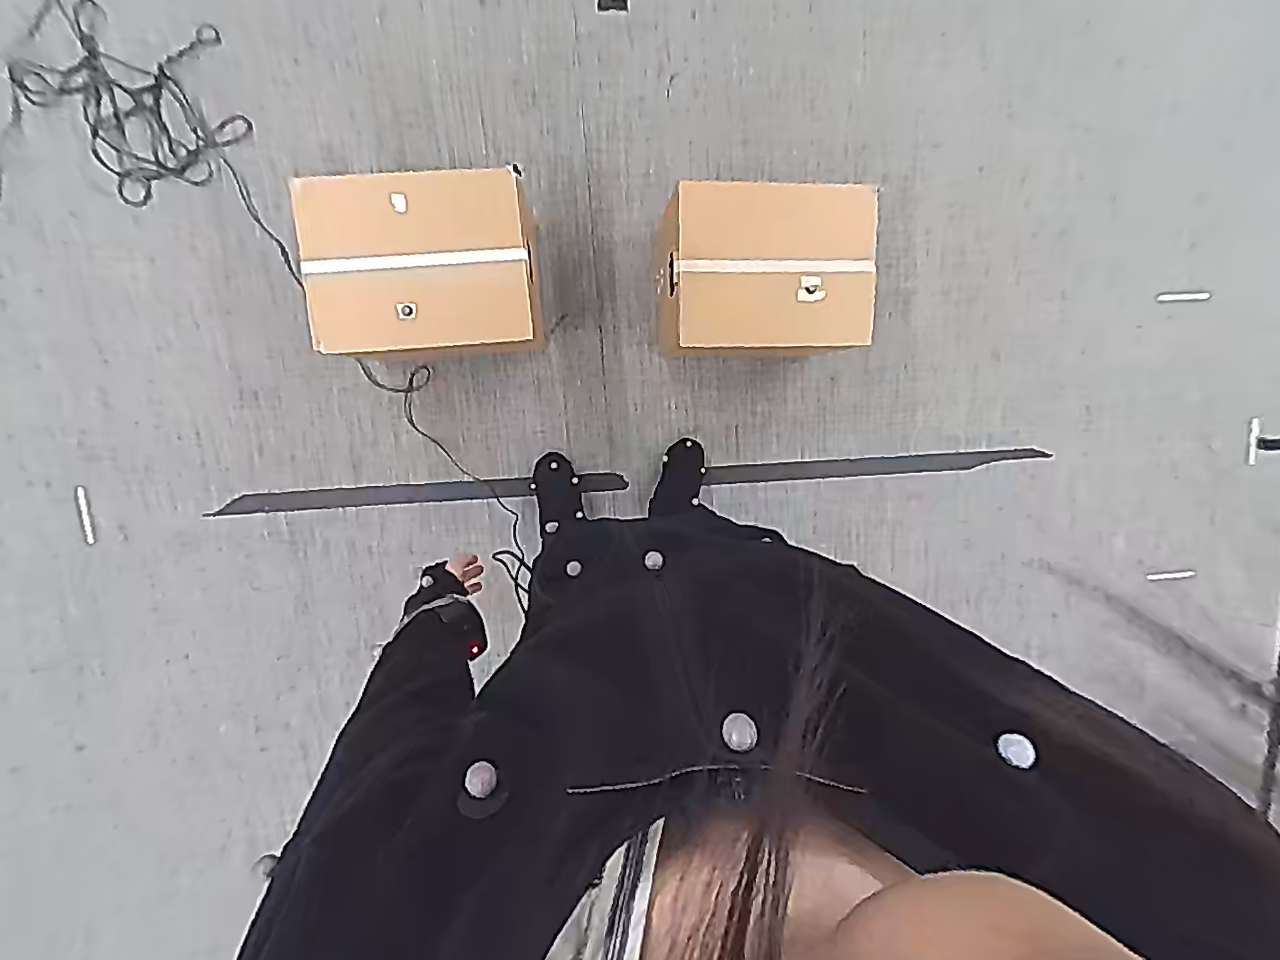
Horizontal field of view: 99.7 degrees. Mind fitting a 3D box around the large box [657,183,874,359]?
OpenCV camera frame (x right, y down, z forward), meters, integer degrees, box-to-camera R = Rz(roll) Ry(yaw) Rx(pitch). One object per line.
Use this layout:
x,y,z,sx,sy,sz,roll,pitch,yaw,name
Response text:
0.260,-0.449,1.231,0.408,0.320,0.320,-2,99,-6,large box
